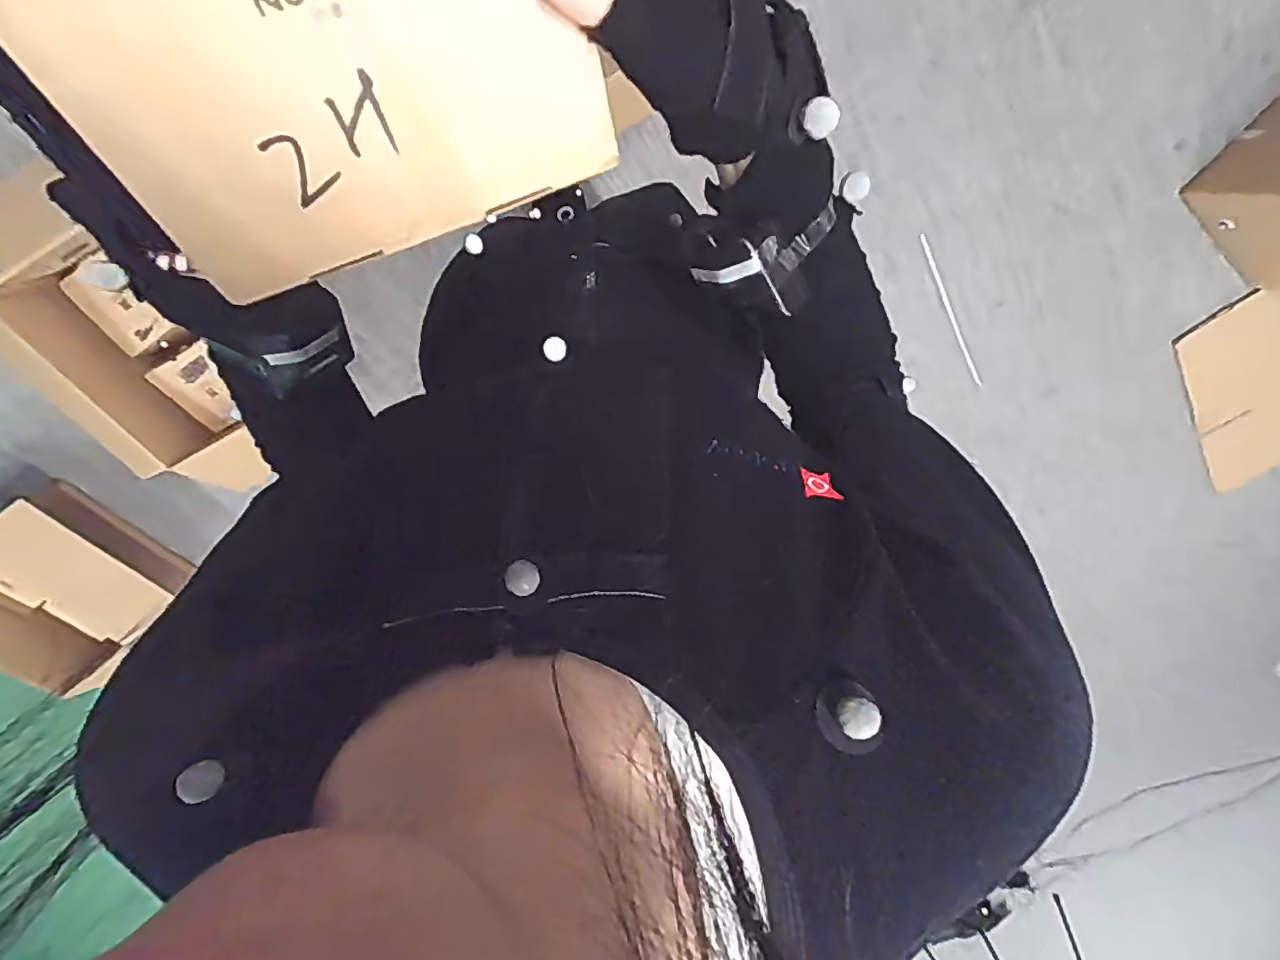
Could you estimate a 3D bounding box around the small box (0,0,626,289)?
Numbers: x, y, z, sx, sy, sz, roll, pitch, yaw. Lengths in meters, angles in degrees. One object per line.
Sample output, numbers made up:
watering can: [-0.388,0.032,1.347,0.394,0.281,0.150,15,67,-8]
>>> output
small box: [-0.125,-0.210,0.204,0.168,0.176,0.179,-23,139,-6]
